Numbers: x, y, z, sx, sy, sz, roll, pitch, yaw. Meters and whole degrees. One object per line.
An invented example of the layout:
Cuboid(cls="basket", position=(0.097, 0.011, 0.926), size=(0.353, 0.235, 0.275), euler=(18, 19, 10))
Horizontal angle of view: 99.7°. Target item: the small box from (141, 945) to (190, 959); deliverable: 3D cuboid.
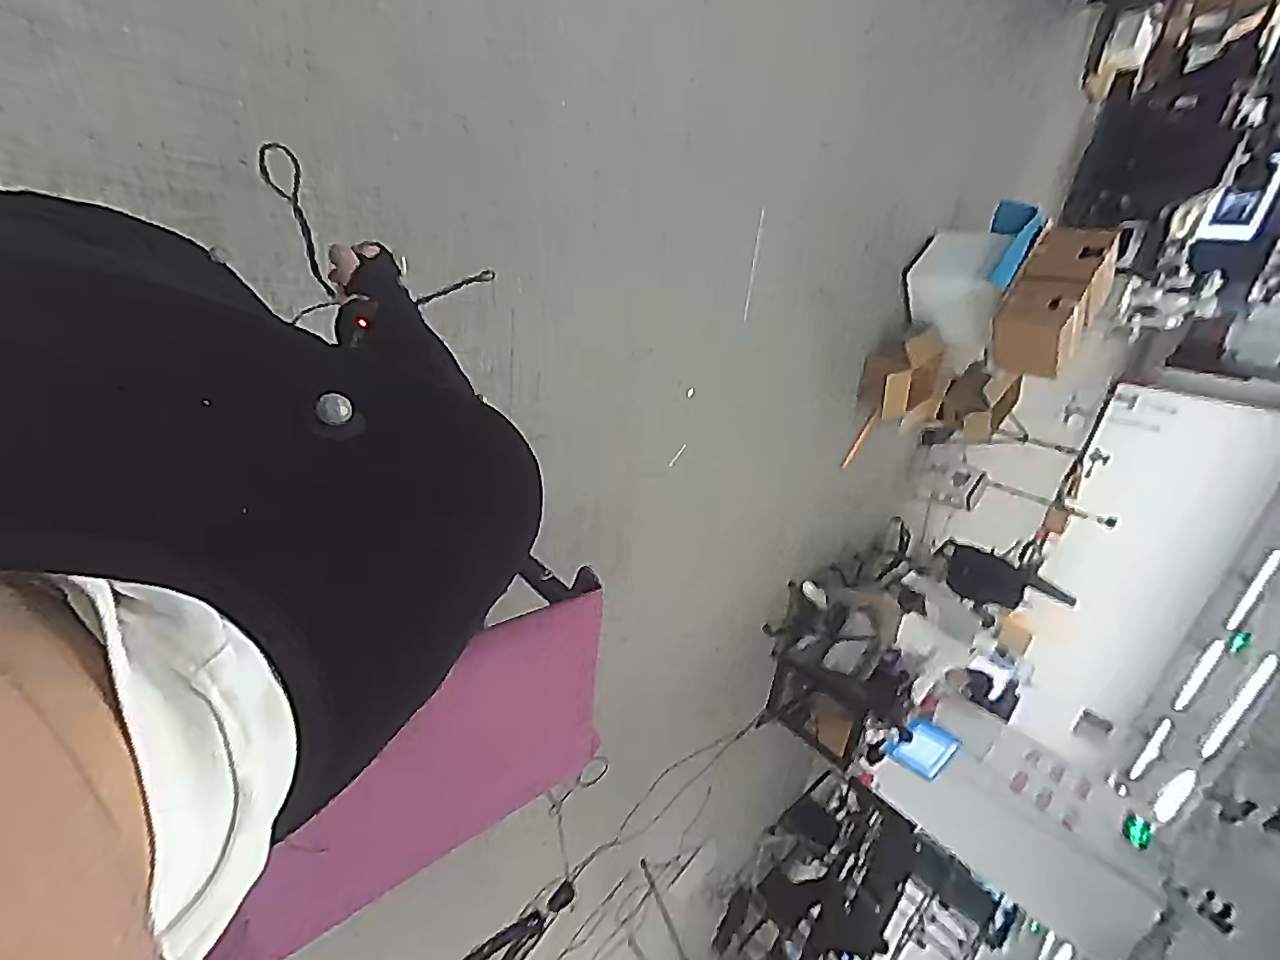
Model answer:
Cuboid(cls="small box", position=(-0.854, 0.946, 0.908), size=(0.168, 0.176, 0.179), euler=(-14, 120, -39))
